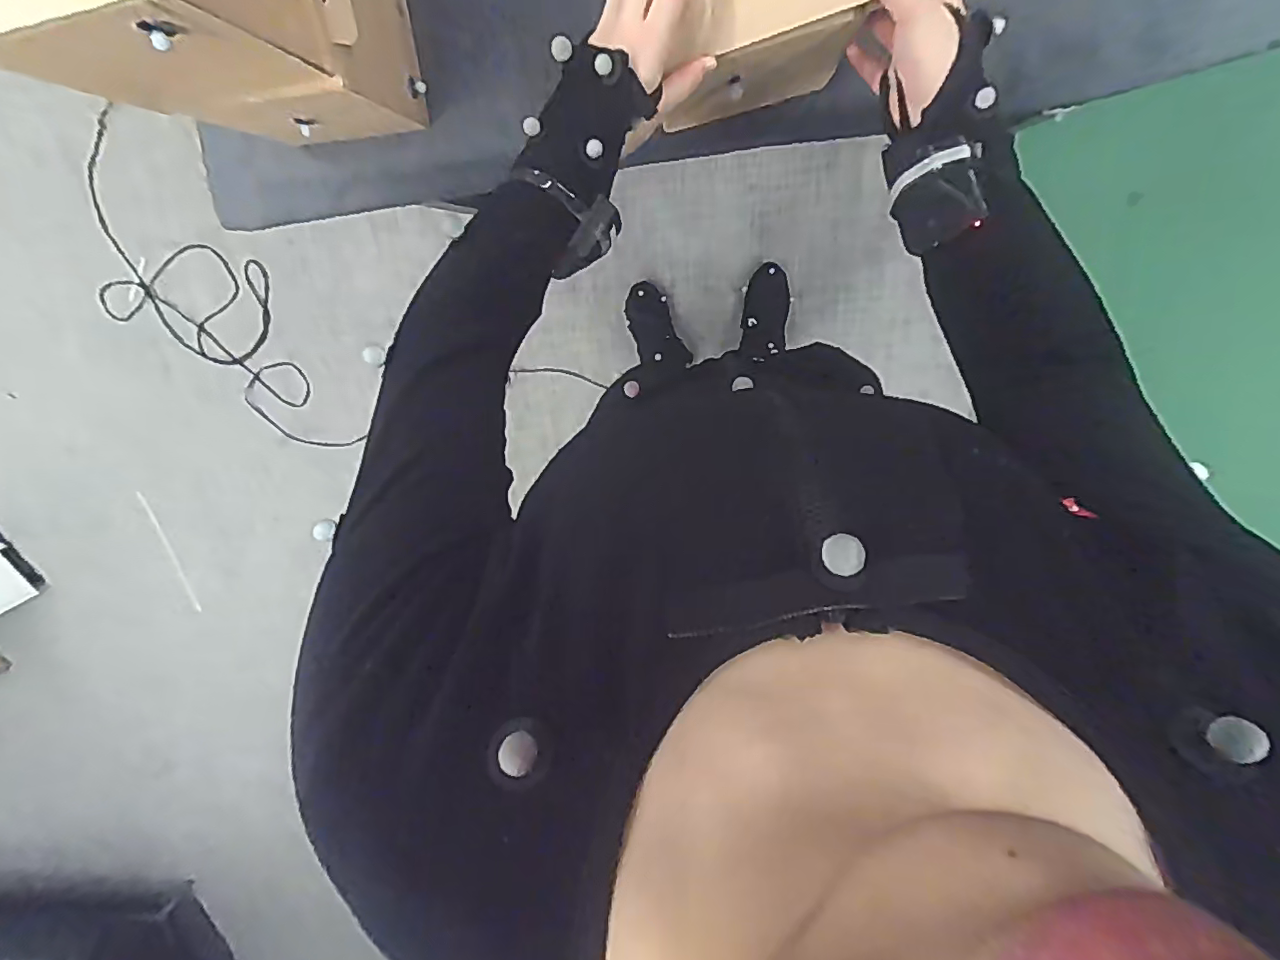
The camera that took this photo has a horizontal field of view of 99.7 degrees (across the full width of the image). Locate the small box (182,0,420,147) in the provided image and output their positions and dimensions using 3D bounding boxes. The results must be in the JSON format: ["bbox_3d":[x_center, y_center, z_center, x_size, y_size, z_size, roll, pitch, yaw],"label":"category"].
[{"bbox_3d":[-0.340,-0.445,0.534,0.179,0.176,0.168,-2,112,8],"label":"small box"}]

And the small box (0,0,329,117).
[{"bbox_3d":[-0.373,-0.386,0.386,0.179,0.176,0.168,-7,111,9],"label":"small box"}]

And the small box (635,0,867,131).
[{"bbox_3d":[0.087,-0.444,0.487,0.179,0.176,0.168,-10,109,10],"label":"small box"}]
